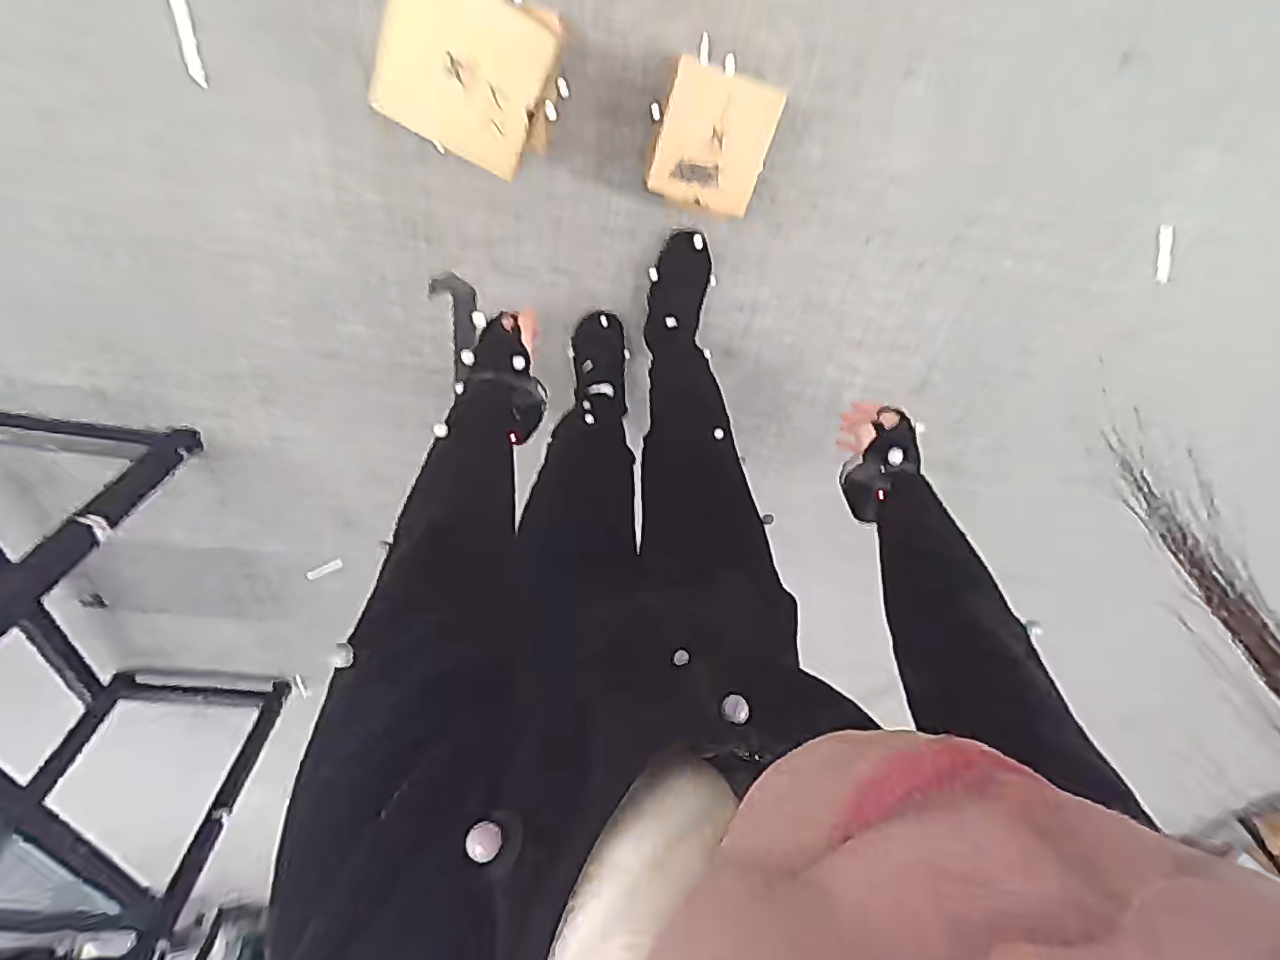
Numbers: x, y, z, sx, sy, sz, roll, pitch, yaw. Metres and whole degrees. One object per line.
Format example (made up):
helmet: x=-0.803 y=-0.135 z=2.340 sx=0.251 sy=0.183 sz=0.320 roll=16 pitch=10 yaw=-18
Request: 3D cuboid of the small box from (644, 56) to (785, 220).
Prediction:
small box: x=0.108 y=-0.555 z=0.878 sx=0.168 sy=0.176 sz=0.179 roll=12 pitch=127 yaw=-12

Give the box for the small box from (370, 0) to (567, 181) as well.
small box: x=-0.206 y=-0.515 z=0.680 sx=0.179 sy=0.176 sz=0.168 roll=22 pitch=125 yaw=-19

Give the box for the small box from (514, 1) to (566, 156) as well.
small box: x=-0.211 y=-0.617 z=0.810 sx=0.179 sy=0.176 sz=0.168 roll=11 pitch=127 yaw=-12
